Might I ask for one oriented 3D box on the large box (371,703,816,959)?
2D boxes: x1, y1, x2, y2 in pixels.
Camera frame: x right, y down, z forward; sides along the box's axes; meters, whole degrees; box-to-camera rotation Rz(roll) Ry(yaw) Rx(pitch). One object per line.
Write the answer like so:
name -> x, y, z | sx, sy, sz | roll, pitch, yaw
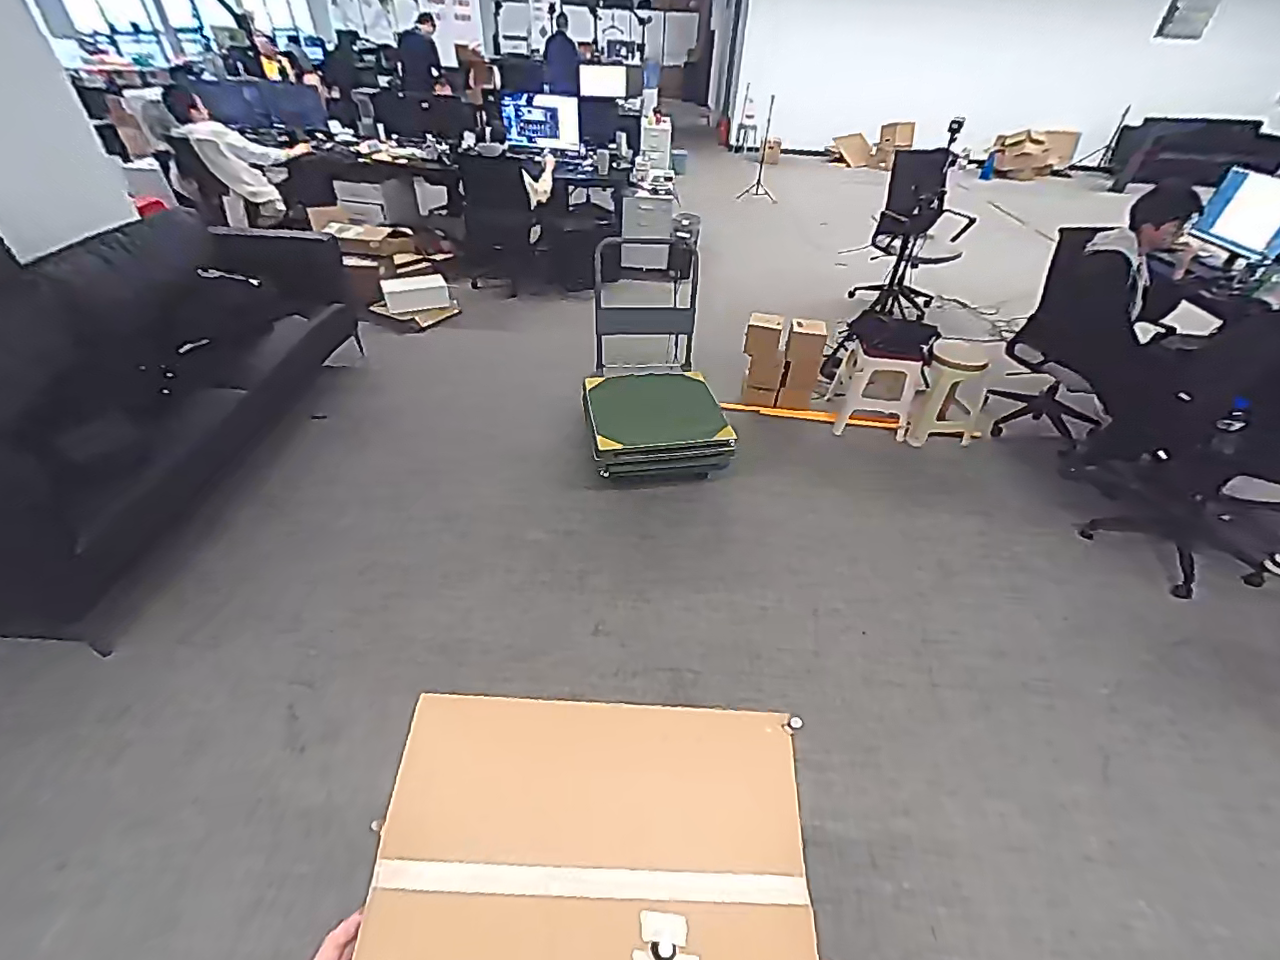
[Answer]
large box -> -0.048, 0.463, 0.634 | 0.408, 0.320, 0.320 | 3, 56, -2
